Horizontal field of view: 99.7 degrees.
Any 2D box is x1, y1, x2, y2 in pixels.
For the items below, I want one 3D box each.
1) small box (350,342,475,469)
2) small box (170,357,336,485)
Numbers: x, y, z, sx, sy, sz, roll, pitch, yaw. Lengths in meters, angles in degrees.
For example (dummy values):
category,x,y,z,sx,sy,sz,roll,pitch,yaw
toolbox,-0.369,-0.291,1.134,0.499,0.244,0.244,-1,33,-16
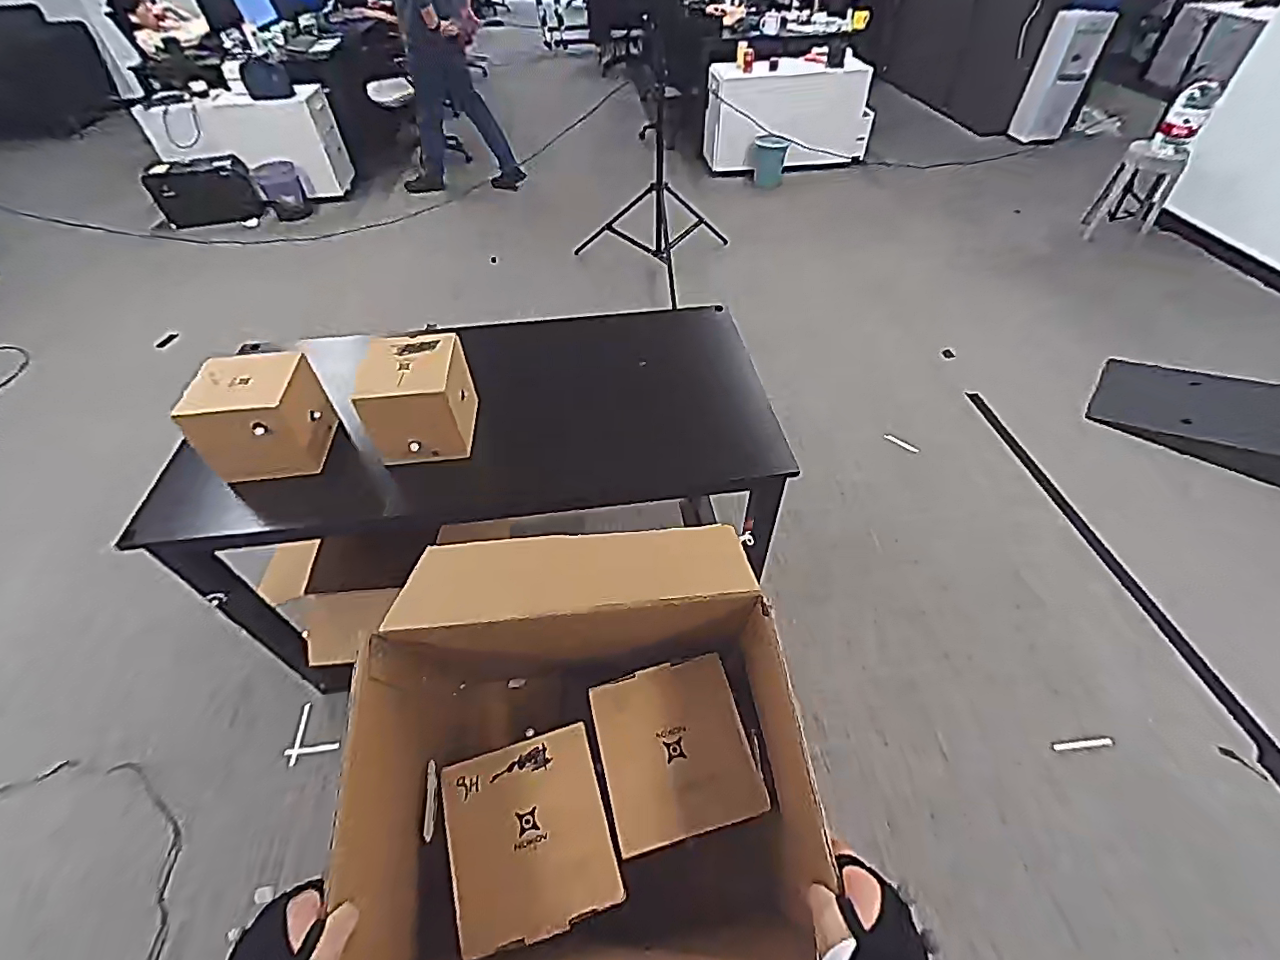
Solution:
category,x,y,z,sx,sy,sz,roll,pitch,yaw
small box,-0.425,-0.143,1.044,0.168,0.176,0.179,-6,48,-3
small box,-0.707,-0.108,1.017,0.179,0.176,0.168,-6,47,-5
